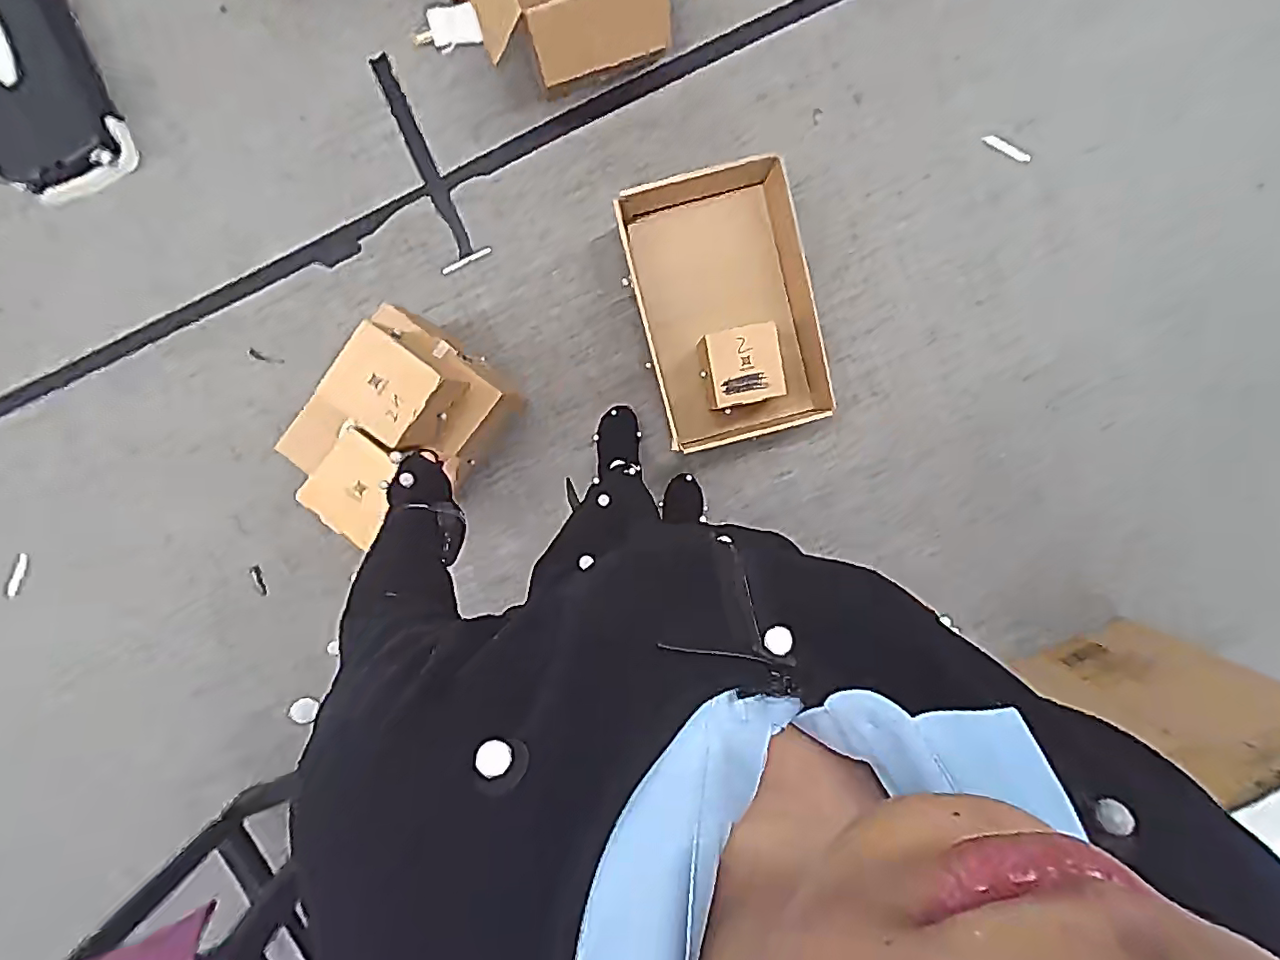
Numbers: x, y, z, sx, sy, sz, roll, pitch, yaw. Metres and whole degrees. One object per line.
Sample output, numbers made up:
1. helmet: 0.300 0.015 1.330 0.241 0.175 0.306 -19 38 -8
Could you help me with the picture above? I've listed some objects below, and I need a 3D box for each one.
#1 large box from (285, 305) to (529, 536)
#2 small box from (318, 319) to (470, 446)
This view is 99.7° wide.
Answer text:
1. large box: -0.529 -0.141 1.305 0.320 0.320 0.408 39 96 -4
2. small box: -0.467 -0.183 1.053 0.179 0.176 0.168 38 96 -5
